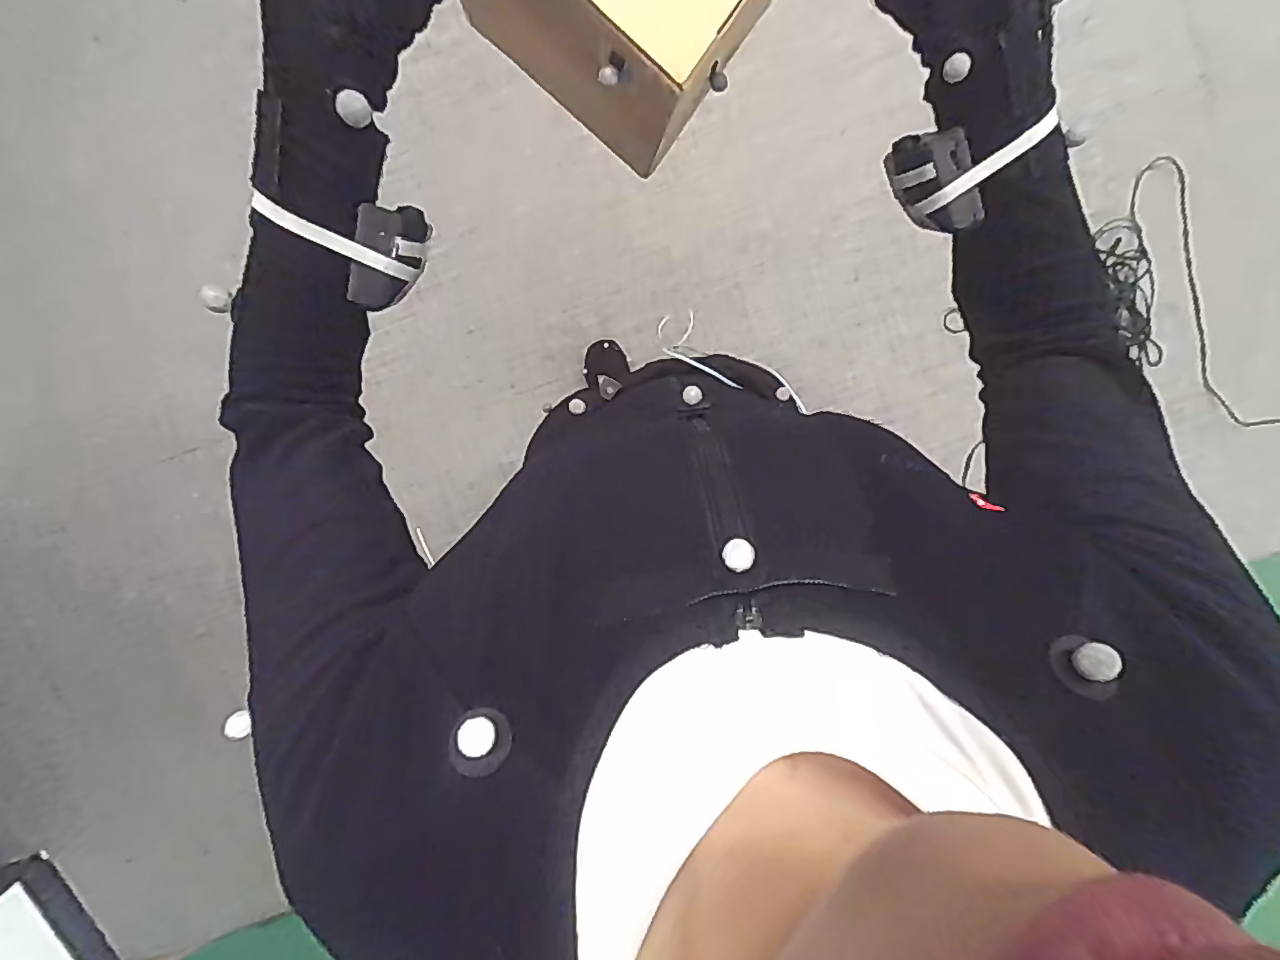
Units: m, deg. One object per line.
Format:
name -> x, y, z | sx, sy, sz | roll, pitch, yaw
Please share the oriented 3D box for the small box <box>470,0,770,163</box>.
small box -> -0.007, -0.346, 0.346 | 0.179, 0.176, 0.168 | 36, 98, -15
